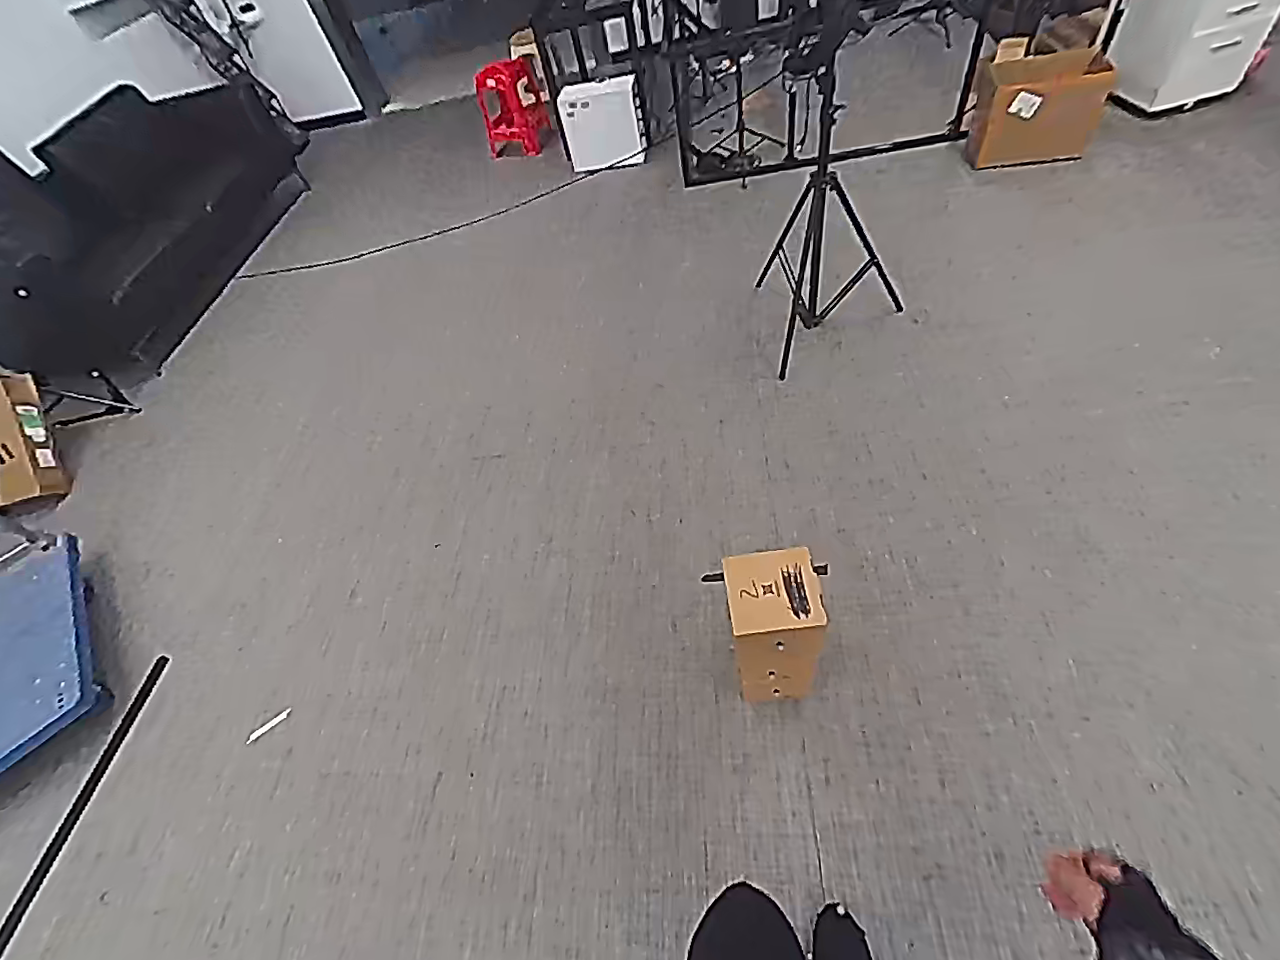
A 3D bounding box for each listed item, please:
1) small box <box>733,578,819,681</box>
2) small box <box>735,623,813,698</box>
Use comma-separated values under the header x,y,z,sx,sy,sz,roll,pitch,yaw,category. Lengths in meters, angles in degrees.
x,y,z,sx,sy,sz,roll,pitch,yaw,category
0.304,0.344,1.235,0.168,0.176,0.179,-7,53,9,small box
0.335,0.441,1.362,0.168,0.176,0.179,-8,52,8,small box
